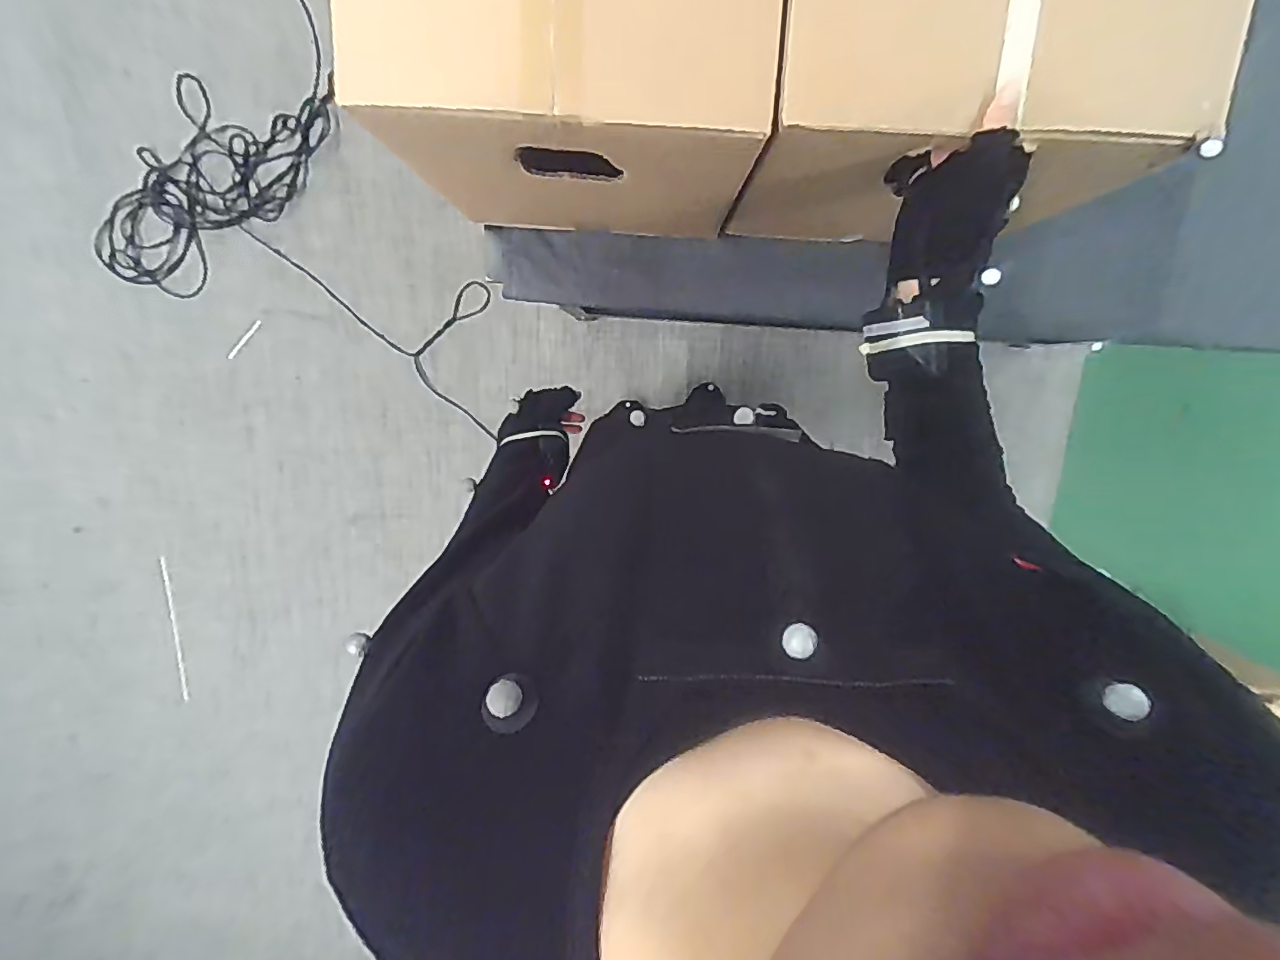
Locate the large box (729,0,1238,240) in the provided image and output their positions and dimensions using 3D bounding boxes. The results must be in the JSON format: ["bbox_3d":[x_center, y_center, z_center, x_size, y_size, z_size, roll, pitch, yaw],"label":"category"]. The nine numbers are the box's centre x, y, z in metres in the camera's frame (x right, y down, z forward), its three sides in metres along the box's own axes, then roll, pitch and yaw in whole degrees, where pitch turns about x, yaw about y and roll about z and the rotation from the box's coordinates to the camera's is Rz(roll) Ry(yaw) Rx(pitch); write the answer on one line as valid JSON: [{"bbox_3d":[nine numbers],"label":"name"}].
[{"bbox_3d":[0.264,-0.471,0.494,0.320,0.320,0.408,3,102,2],"label":"large box"}]
